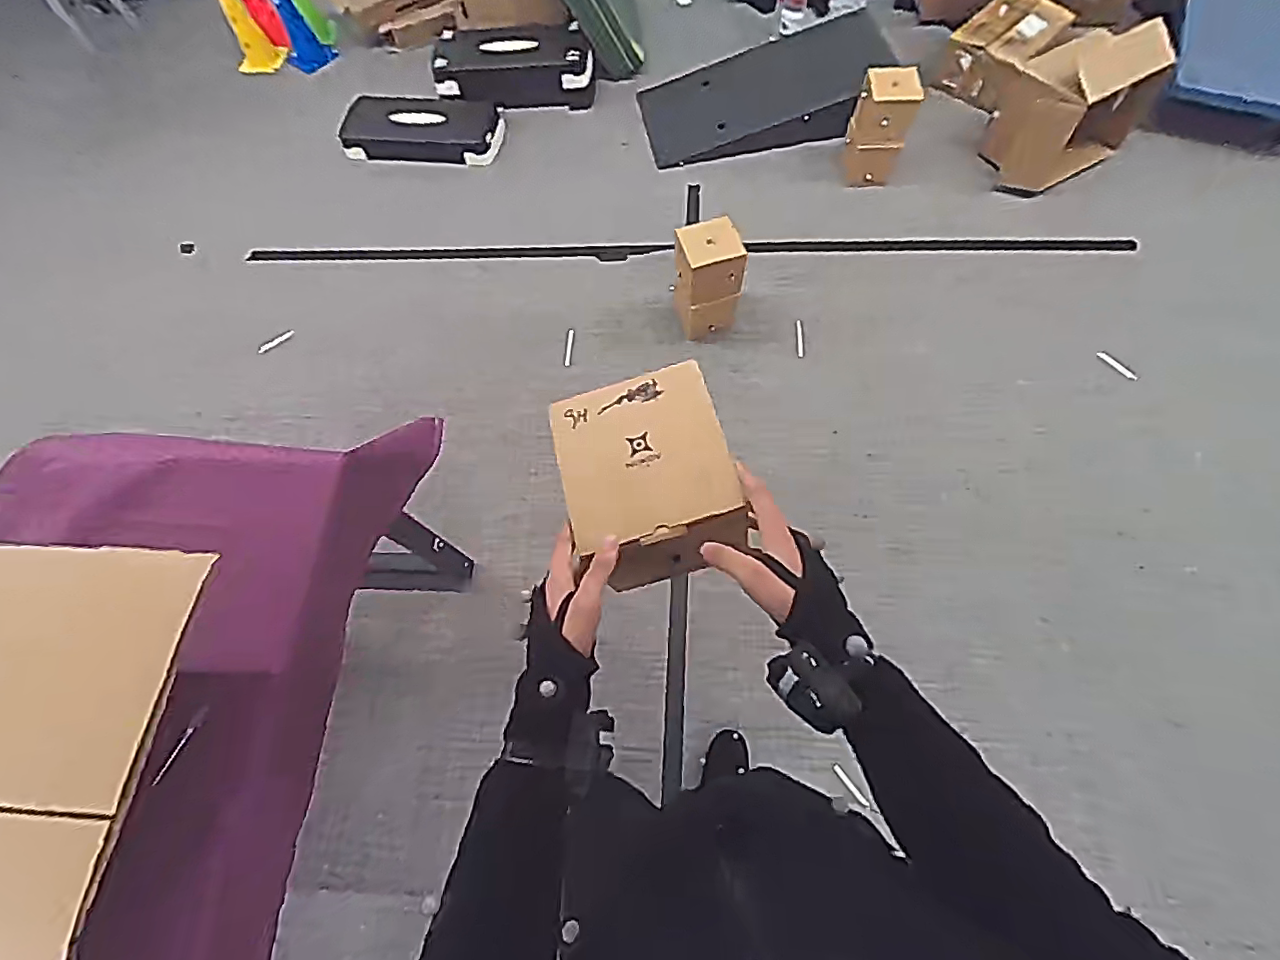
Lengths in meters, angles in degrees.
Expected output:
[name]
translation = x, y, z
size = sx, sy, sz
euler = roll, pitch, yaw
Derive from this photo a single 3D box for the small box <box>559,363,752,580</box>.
[small box]
translation = 0.024, 0.005, 0.609
size = 0.168, 0.176, 0.179
euler = -16, 66, 4
